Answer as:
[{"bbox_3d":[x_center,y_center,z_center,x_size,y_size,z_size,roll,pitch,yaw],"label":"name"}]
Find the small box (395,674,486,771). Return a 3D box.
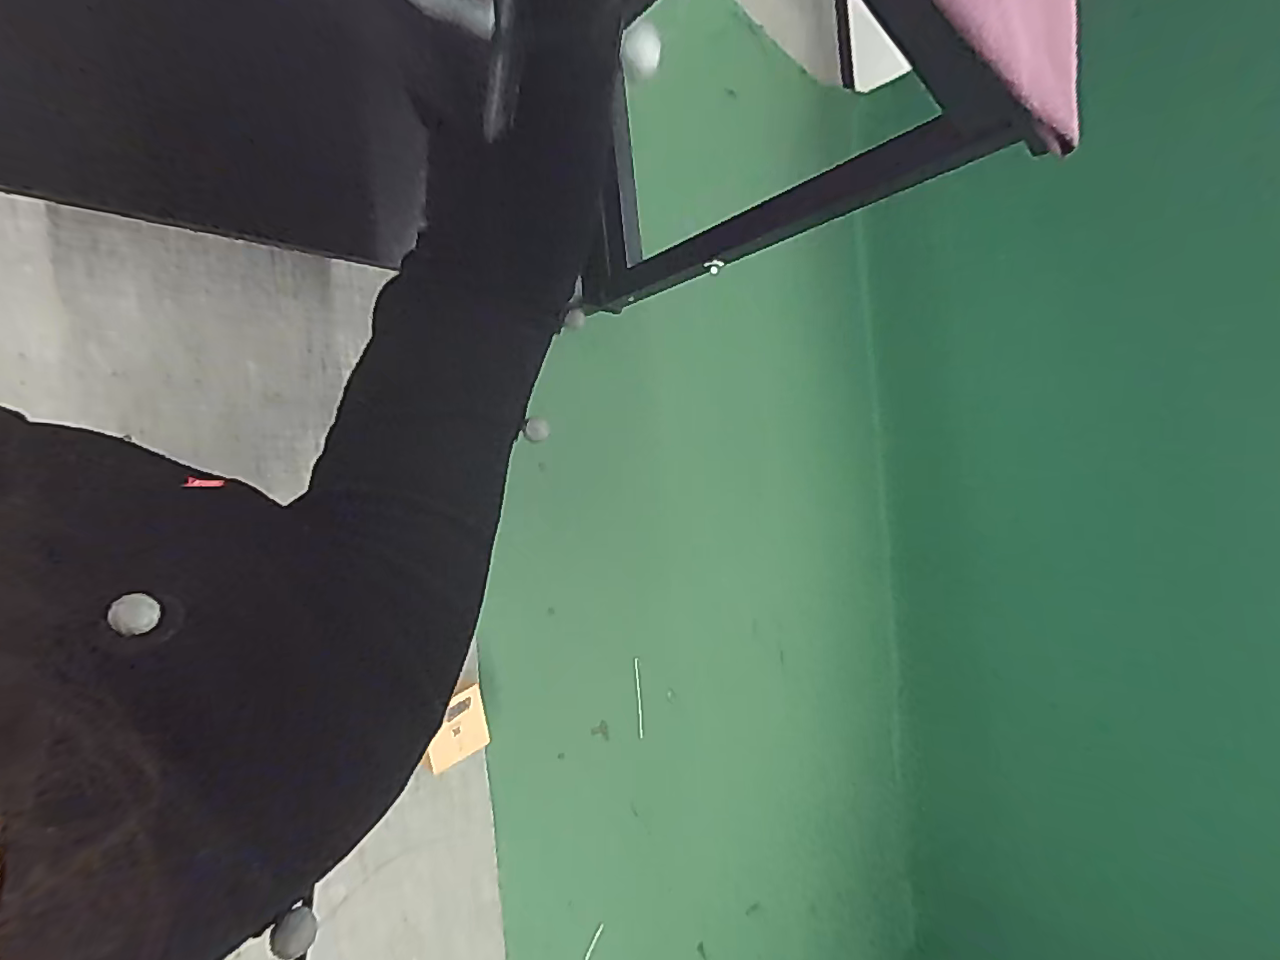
[{"bbox_3d":[-0.550,0.651,1.484,0.168,0.176,0.179,-15,99,-44],"label":"small box"}]
